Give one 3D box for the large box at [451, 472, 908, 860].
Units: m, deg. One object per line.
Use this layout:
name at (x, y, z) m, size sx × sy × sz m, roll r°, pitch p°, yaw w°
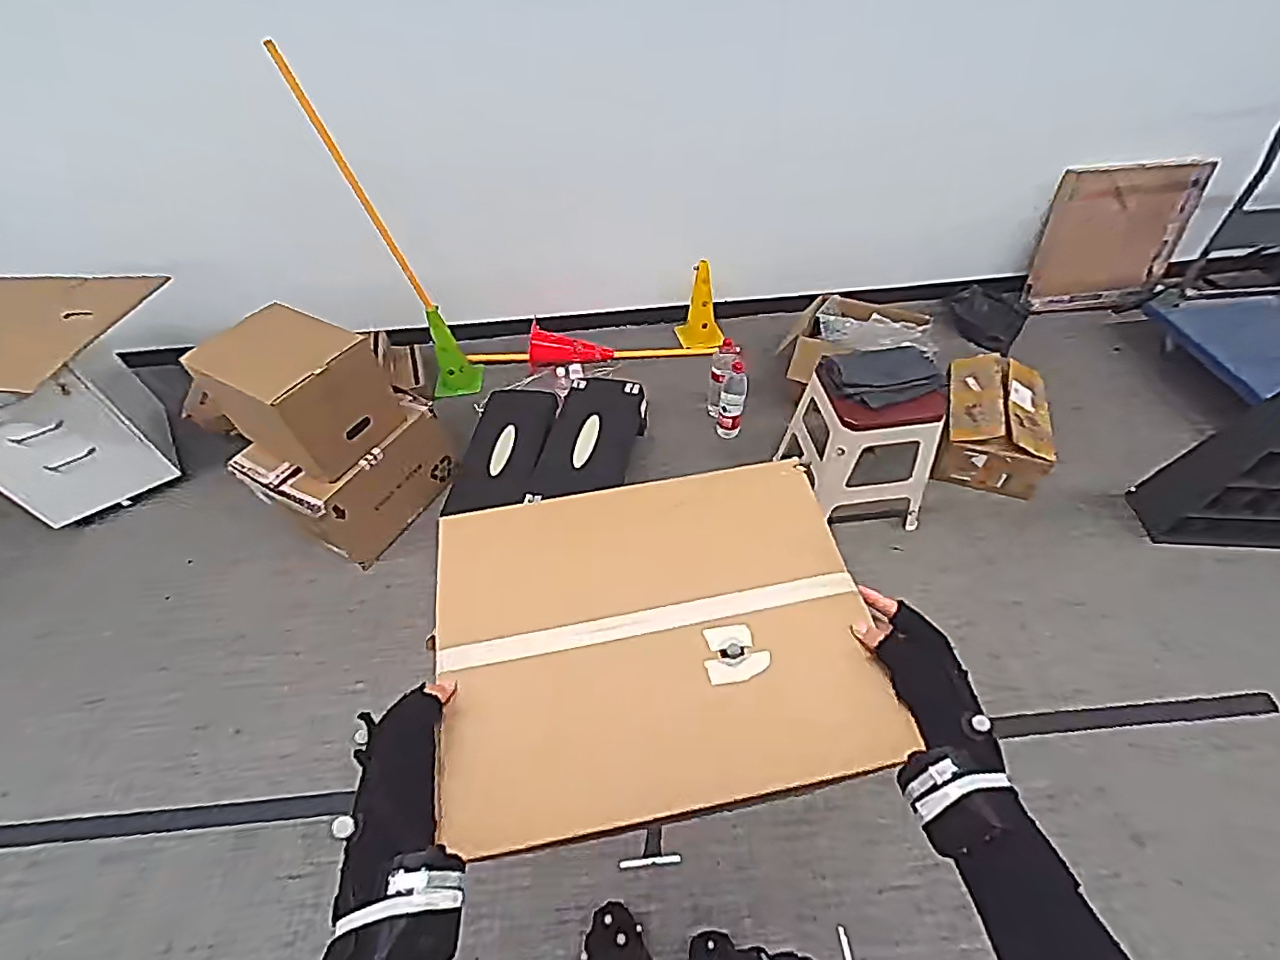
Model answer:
large box at (0.015, 0.230, 0.657) m, size 0.408 × 0.320 × 0.320 m, roll -9°, pitch 57°, yaw -6°
